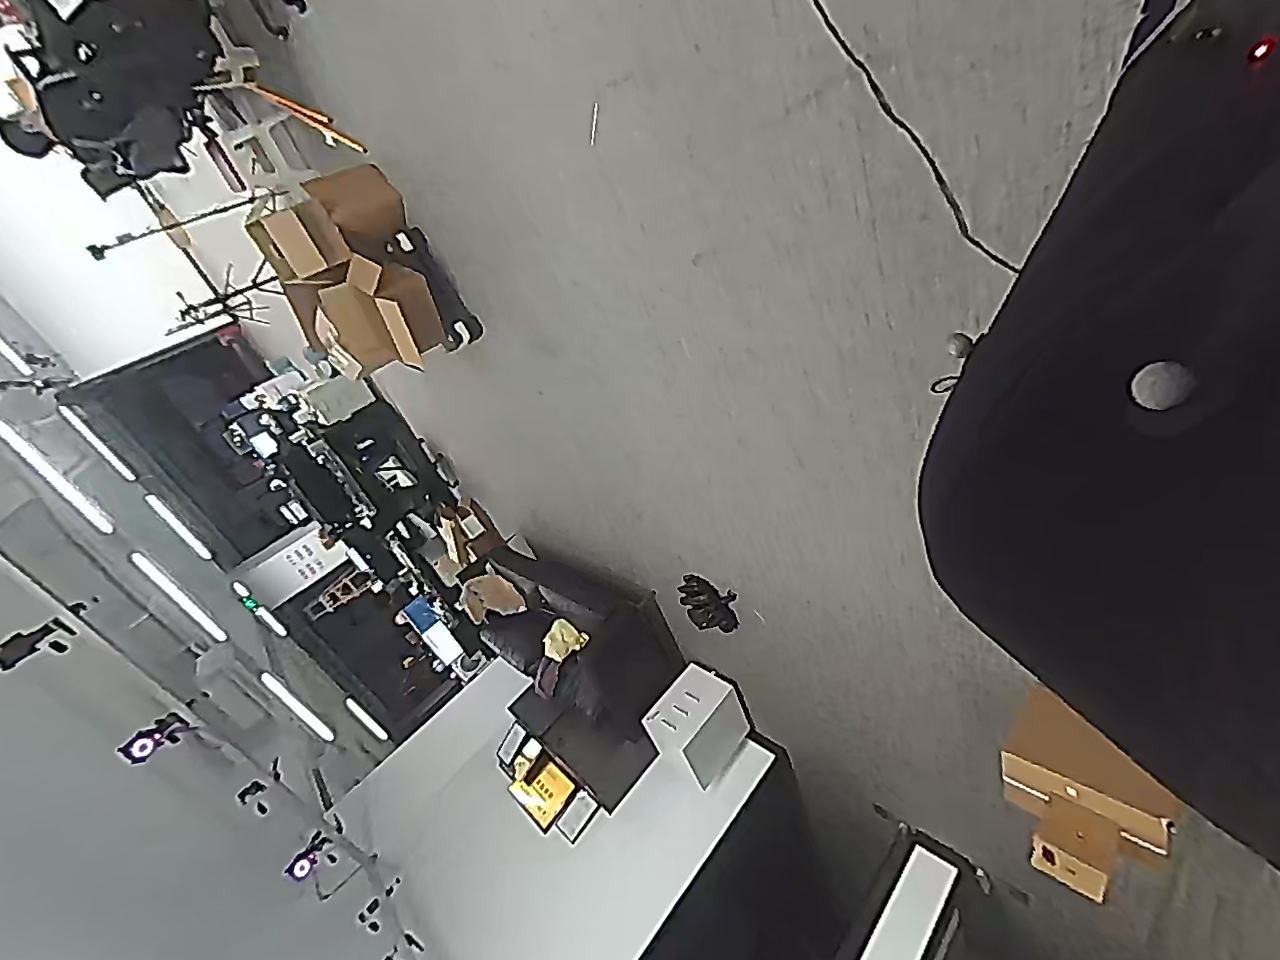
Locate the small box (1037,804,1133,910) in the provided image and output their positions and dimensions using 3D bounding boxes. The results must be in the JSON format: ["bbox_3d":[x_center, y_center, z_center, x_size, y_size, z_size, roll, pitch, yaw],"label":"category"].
[{"bbox_3d":[1.328,1.112,1.615,0.179,0.176,0.168,18,135,44],"label":"small box"}]
